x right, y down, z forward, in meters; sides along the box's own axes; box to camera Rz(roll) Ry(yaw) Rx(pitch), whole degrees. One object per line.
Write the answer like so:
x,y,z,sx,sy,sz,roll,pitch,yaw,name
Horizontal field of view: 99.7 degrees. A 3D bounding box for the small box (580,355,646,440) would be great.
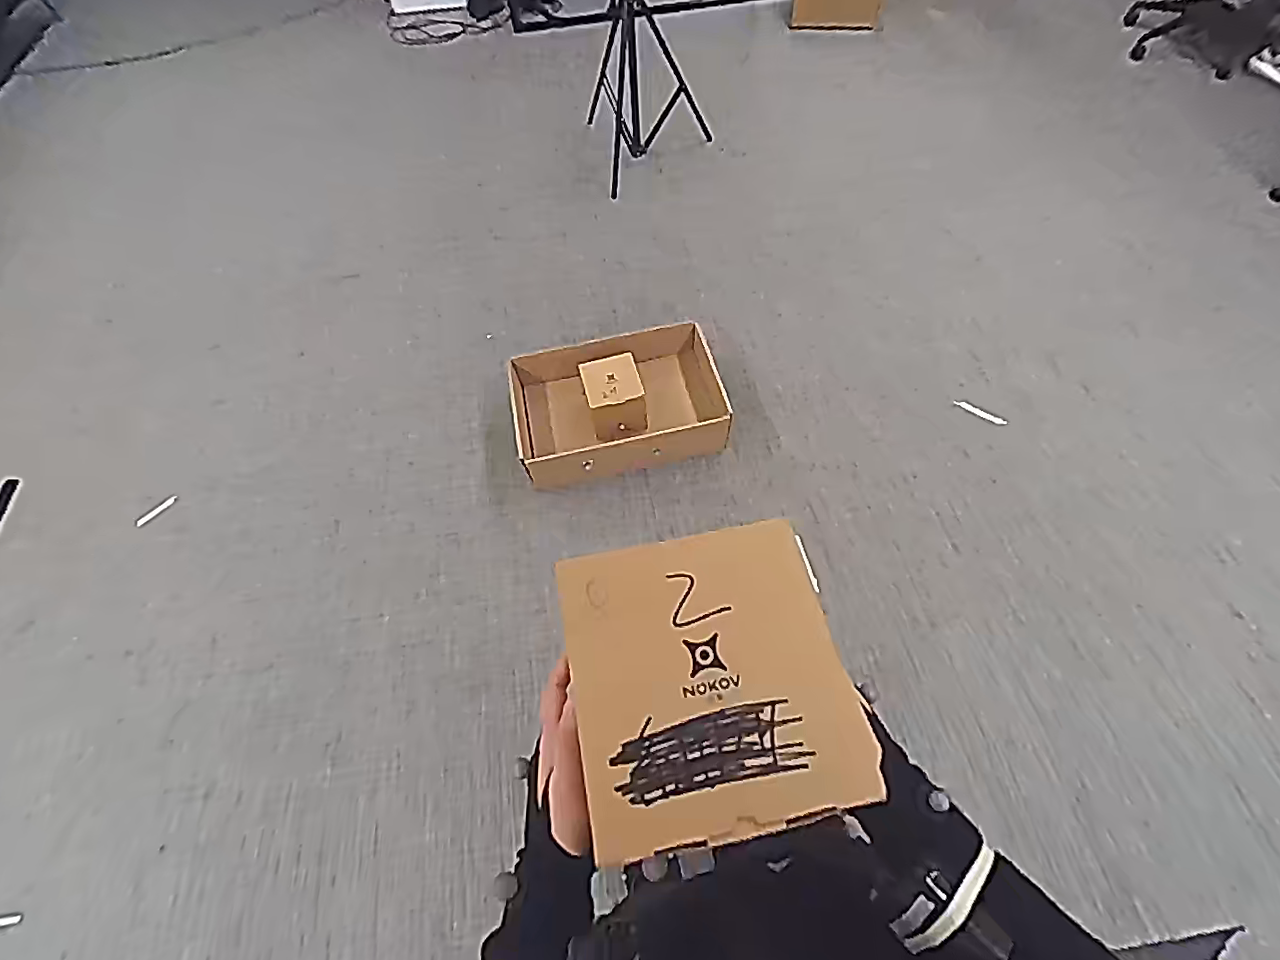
-0.082,-0.250,1.658,0.168,0.176,0.179,-14,61,-5,small box
